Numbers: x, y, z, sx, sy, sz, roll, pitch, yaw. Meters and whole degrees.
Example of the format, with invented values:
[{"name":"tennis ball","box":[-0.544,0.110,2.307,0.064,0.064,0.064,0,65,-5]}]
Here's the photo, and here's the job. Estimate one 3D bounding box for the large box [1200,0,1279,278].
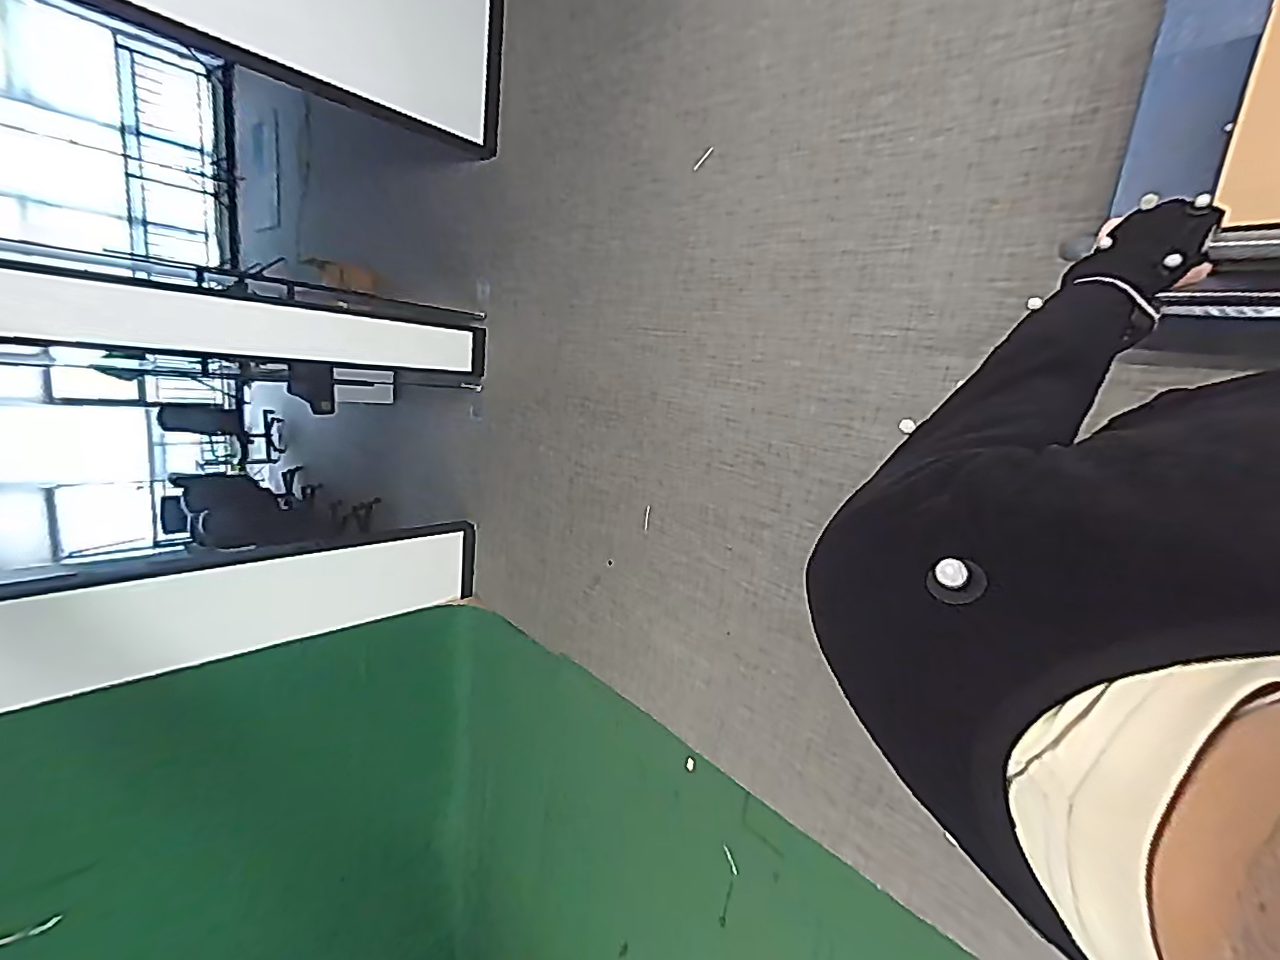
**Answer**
[{"name":"large box","box":[1.084,-0.542,0.787,0.320,0.320,0.408,16,104,42]}]
